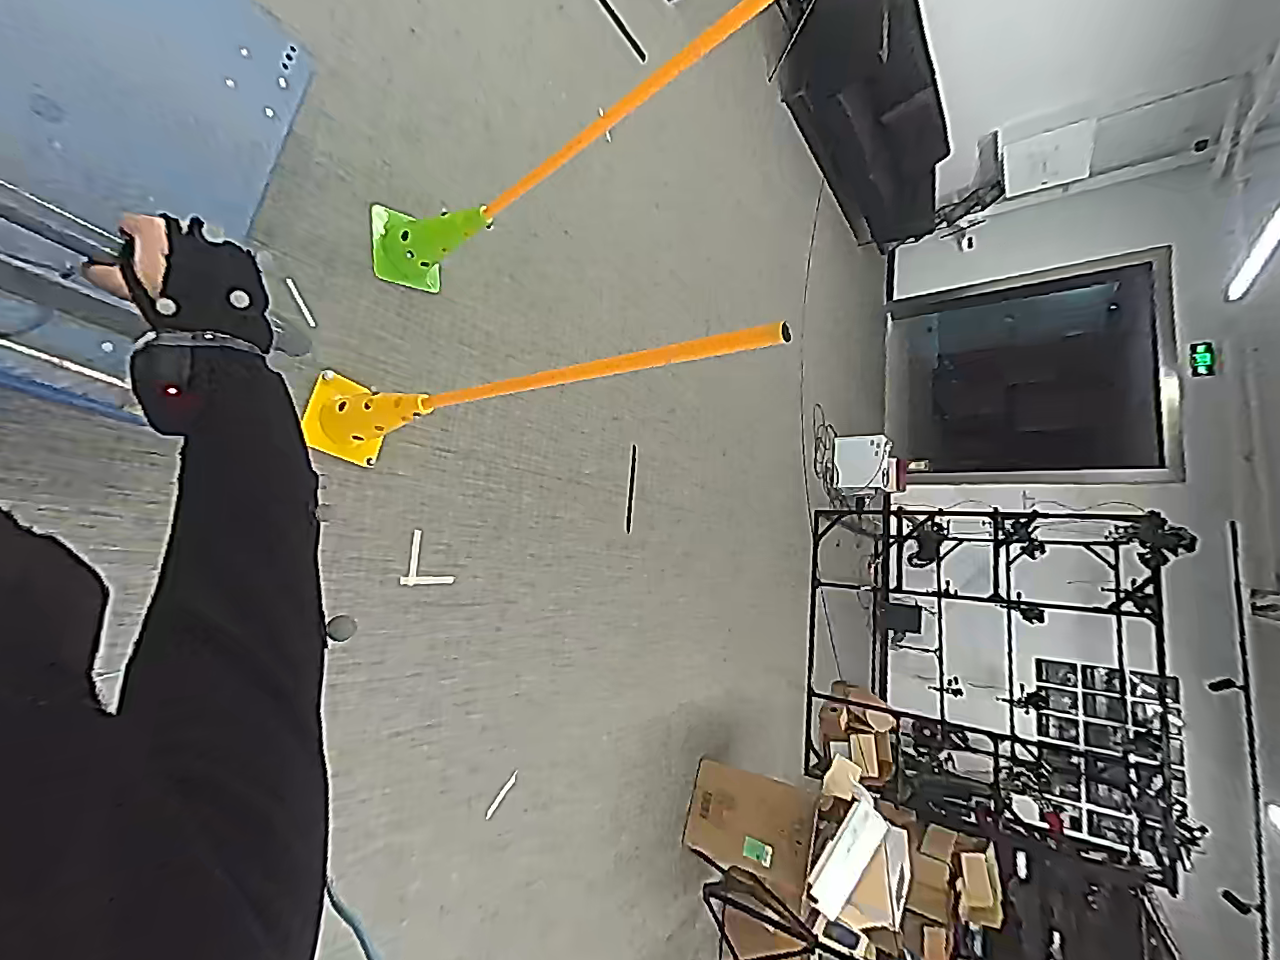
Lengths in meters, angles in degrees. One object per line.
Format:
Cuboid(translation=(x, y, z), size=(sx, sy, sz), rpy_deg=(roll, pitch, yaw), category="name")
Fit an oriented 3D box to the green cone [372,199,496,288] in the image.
Cuboid(translation=(-0.513, -0.654, 1.415), size=(0.200, 0.368, 0.202), rpy_deg=(-5, 95, -54), category="green cone")
